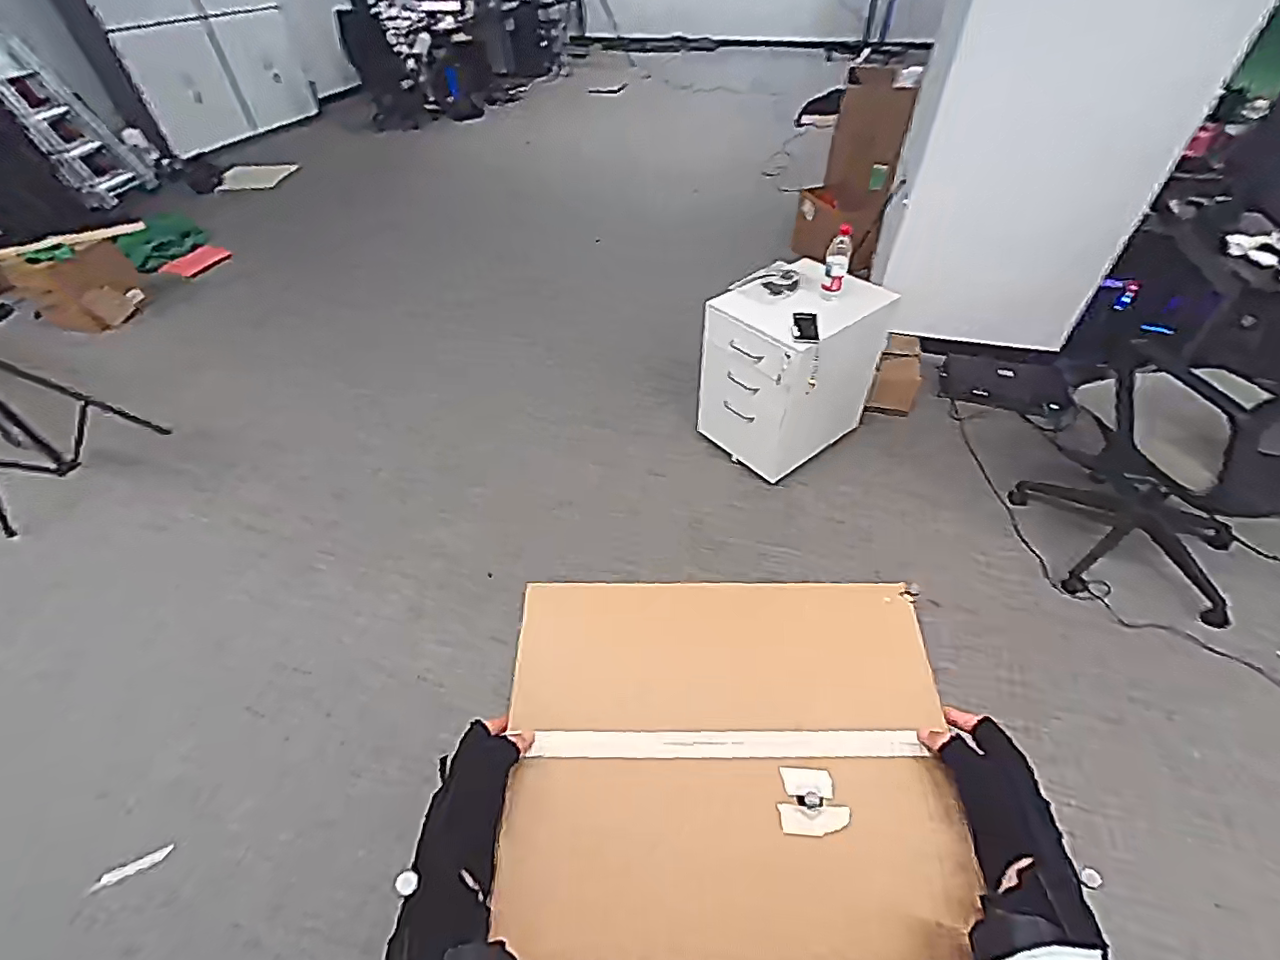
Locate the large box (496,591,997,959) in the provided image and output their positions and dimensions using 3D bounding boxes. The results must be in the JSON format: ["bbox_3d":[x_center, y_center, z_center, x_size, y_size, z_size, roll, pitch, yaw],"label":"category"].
[{"bbox_3d":[0.078,0.337,0.624,0.408,0.320,0.320,-1,56,0],"label":"large box"}]
